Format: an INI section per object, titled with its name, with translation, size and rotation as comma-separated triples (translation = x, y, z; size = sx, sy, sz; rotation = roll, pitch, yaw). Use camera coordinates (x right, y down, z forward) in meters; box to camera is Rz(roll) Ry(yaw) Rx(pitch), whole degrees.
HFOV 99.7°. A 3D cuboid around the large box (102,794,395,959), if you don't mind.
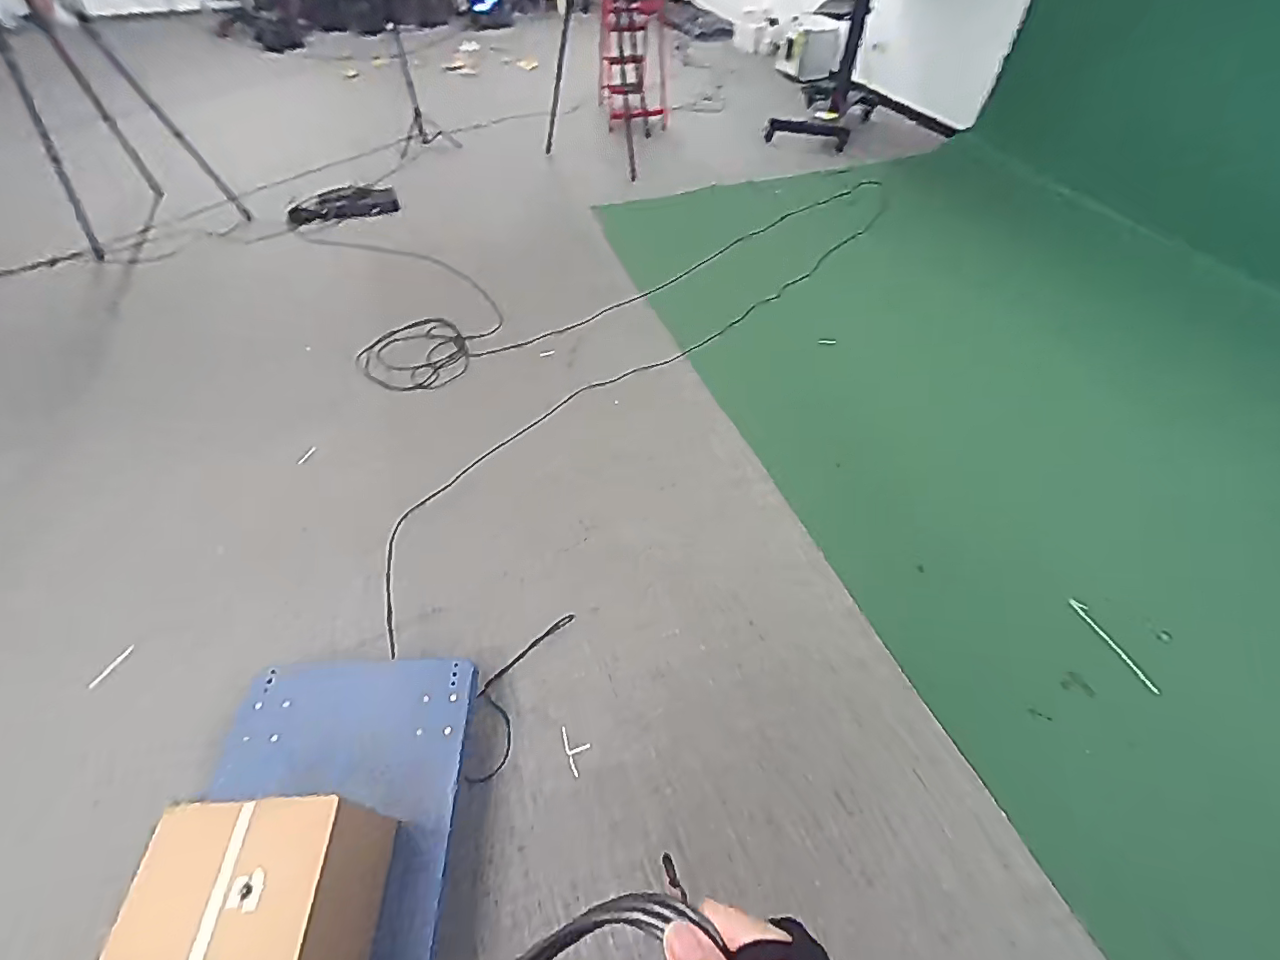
[large box]
translation = -0.685, 0.829, 0.966
size = 0.320, 0.320, 0.408
rotation = -2, 50, -2
